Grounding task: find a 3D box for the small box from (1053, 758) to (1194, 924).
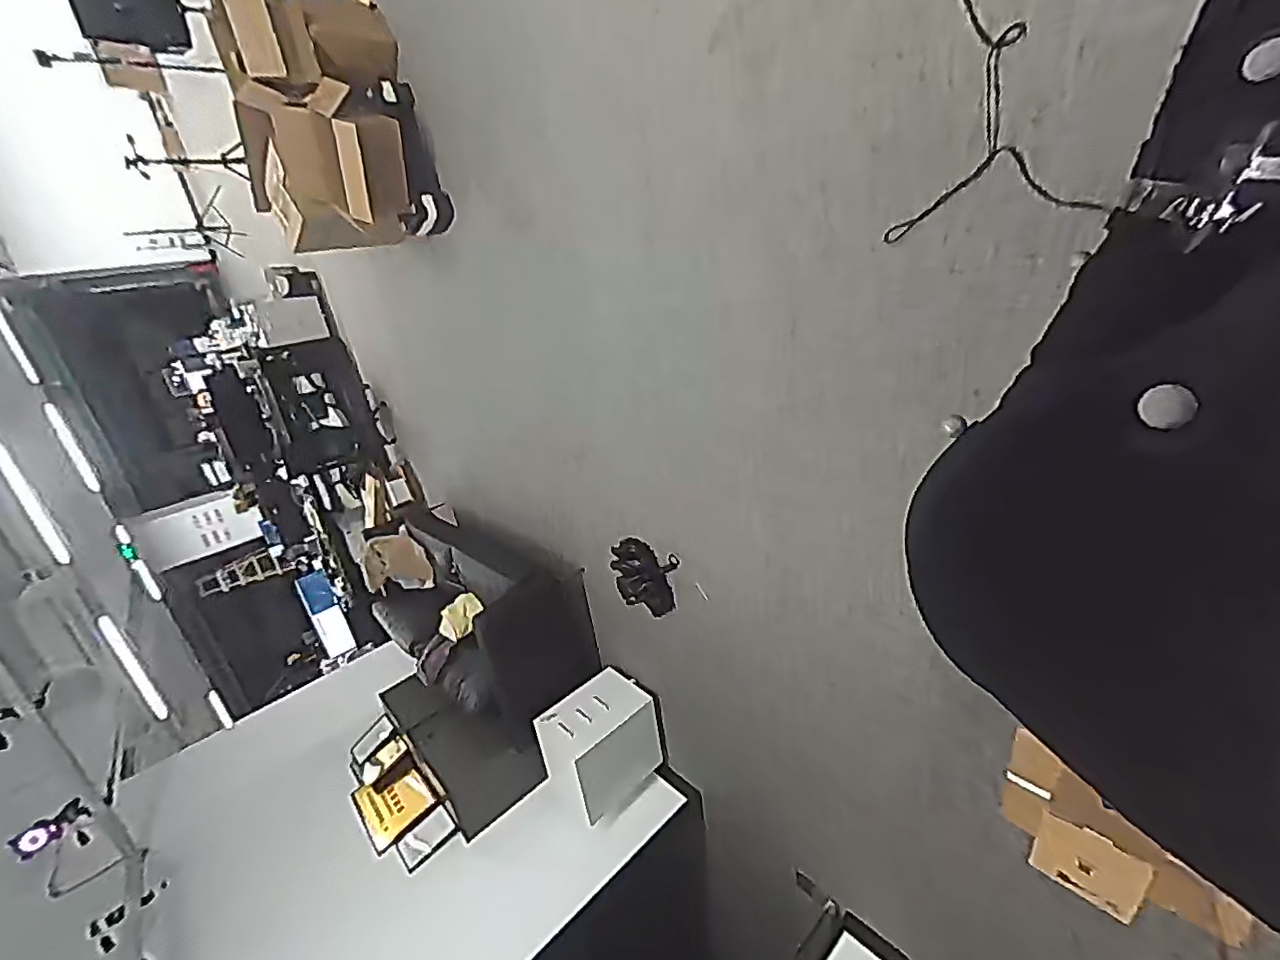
[{"bbox_3d":[0.954,0.698,1.068,0.168,0.176,0.179,20,125,46],"label":"small box"}]
